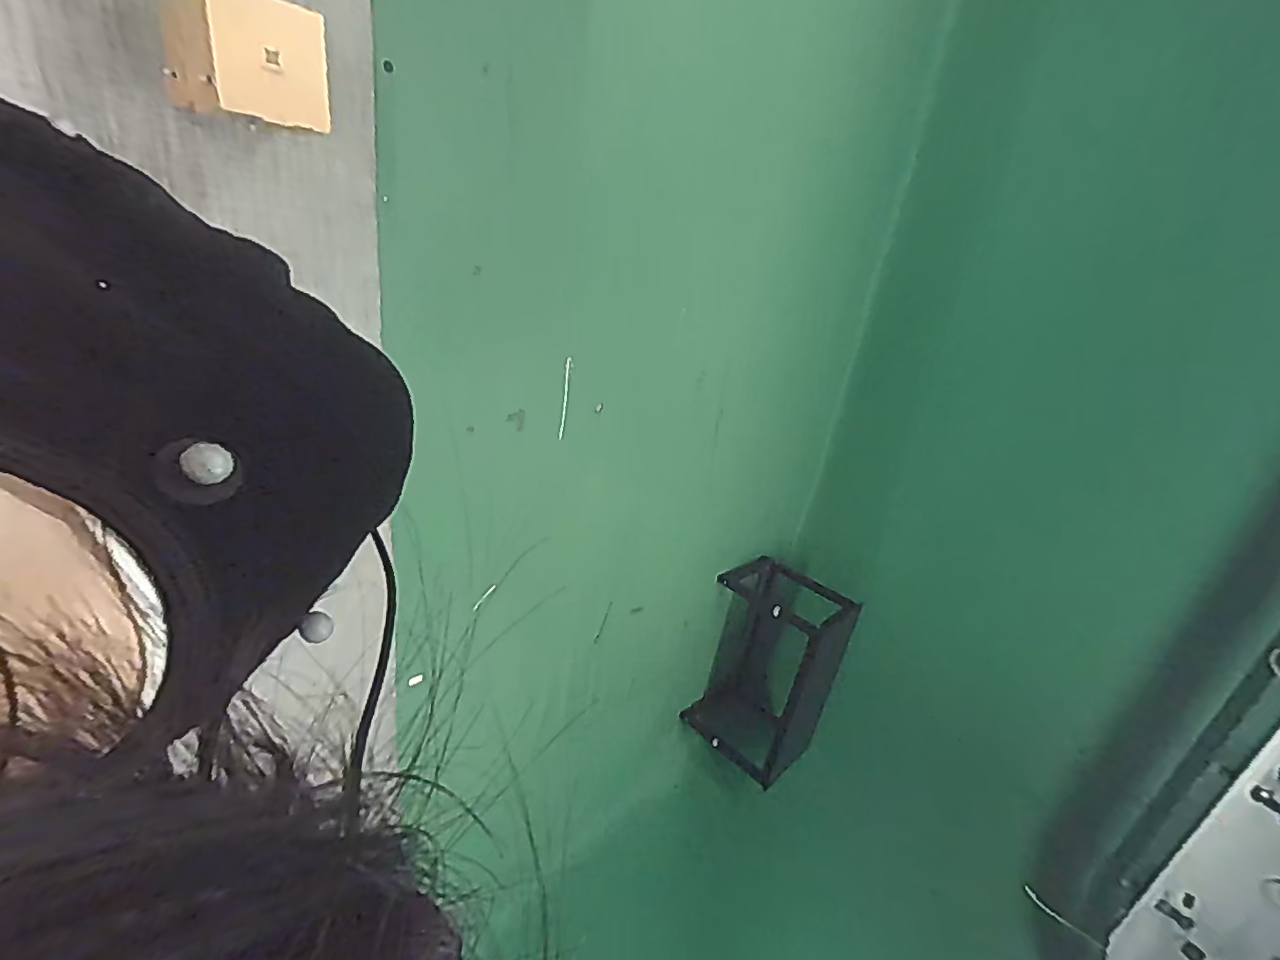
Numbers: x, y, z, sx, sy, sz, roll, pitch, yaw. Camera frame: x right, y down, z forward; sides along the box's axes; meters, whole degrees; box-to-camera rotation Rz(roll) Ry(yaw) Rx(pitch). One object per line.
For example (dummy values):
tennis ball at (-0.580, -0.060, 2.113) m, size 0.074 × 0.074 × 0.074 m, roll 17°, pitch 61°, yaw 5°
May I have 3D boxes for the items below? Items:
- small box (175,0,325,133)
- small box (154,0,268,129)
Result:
small box at (-0.662, -0.713, 0.921) m, size 0.168 × 0.176 × 0.179 m, roll -16°, pitch 125°, yaw -45°
small box at (-0.781, -0.775, 1.013) m, size 0.179 × 0.176 × 0.168 m, roll -13°, pitch 121°, yaw -46°
